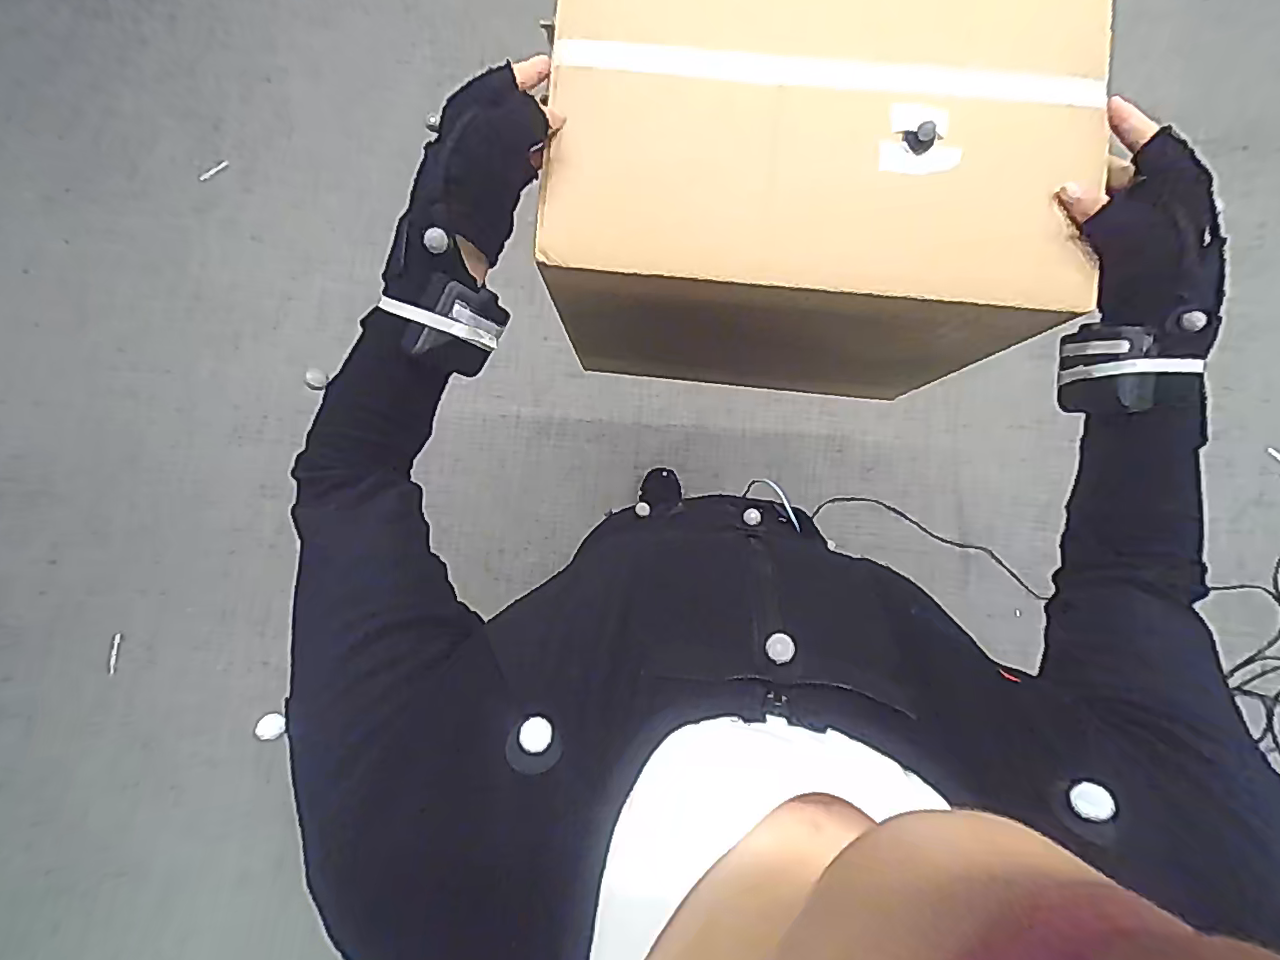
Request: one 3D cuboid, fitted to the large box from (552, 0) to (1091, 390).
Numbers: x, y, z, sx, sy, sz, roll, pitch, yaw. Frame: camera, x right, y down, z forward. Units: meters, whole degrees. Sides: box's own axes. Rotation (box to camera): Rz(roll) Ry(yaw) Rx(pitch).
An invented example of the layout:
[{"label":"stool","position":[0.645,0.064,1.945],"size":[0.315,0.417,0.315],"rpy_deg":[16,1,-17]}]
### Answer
[{"label":"large box","position":[0.138,-0.289,0.559],"size":[0.408,0.320,0.320],"rpy_deg":[5,87,0]}]
